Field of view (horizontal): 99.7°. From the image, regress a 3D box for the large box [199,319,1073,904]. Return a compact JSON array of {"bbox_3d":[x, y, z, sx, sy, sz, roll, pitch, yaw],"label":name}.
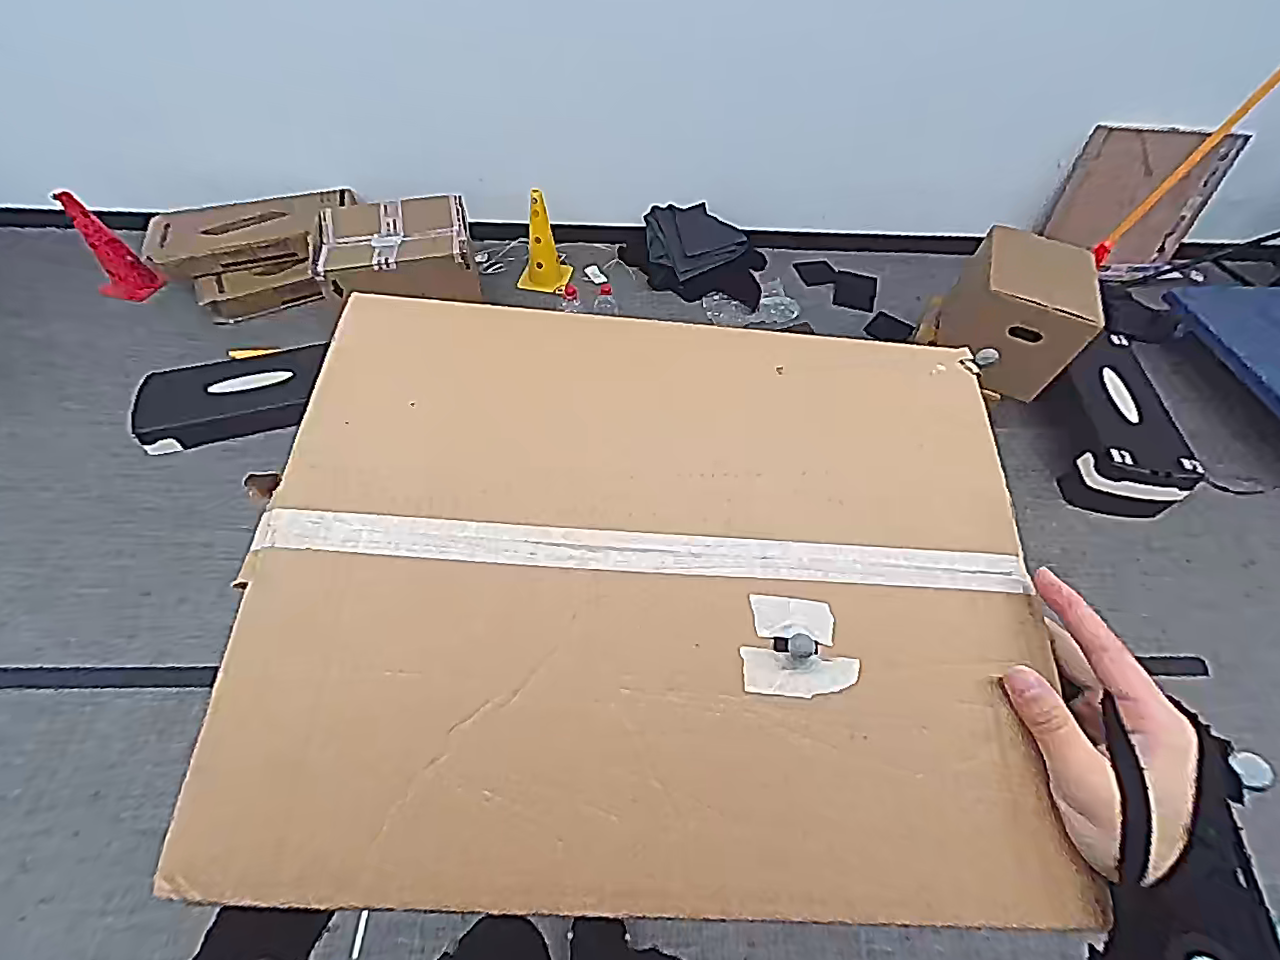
[{"bbox_3d":[-0.001,0.107,0.436,0.408,0.320,0.320,5,66,-4],"label":"large box"}]
